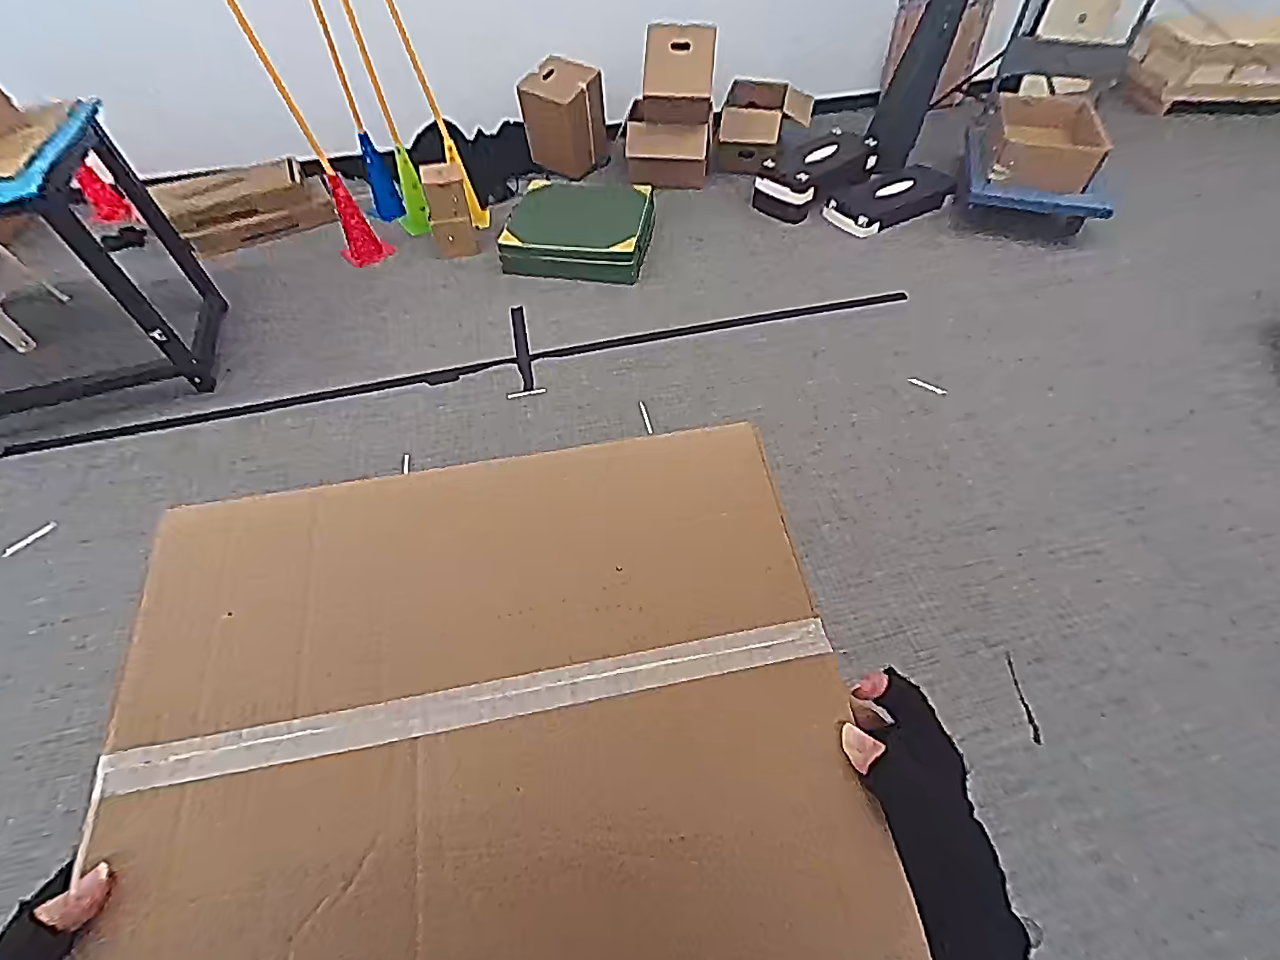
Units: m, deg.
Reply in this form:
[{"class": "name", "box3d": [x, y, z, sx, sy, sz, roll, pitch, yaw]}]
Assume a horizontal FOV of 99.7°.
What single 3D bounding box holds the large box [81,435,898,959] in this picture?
[{"class": "large box", "box3d": [-0.090, 0.199, 0.449, 0.408, 0.320, 0.320, -9, 63, -5]}]
